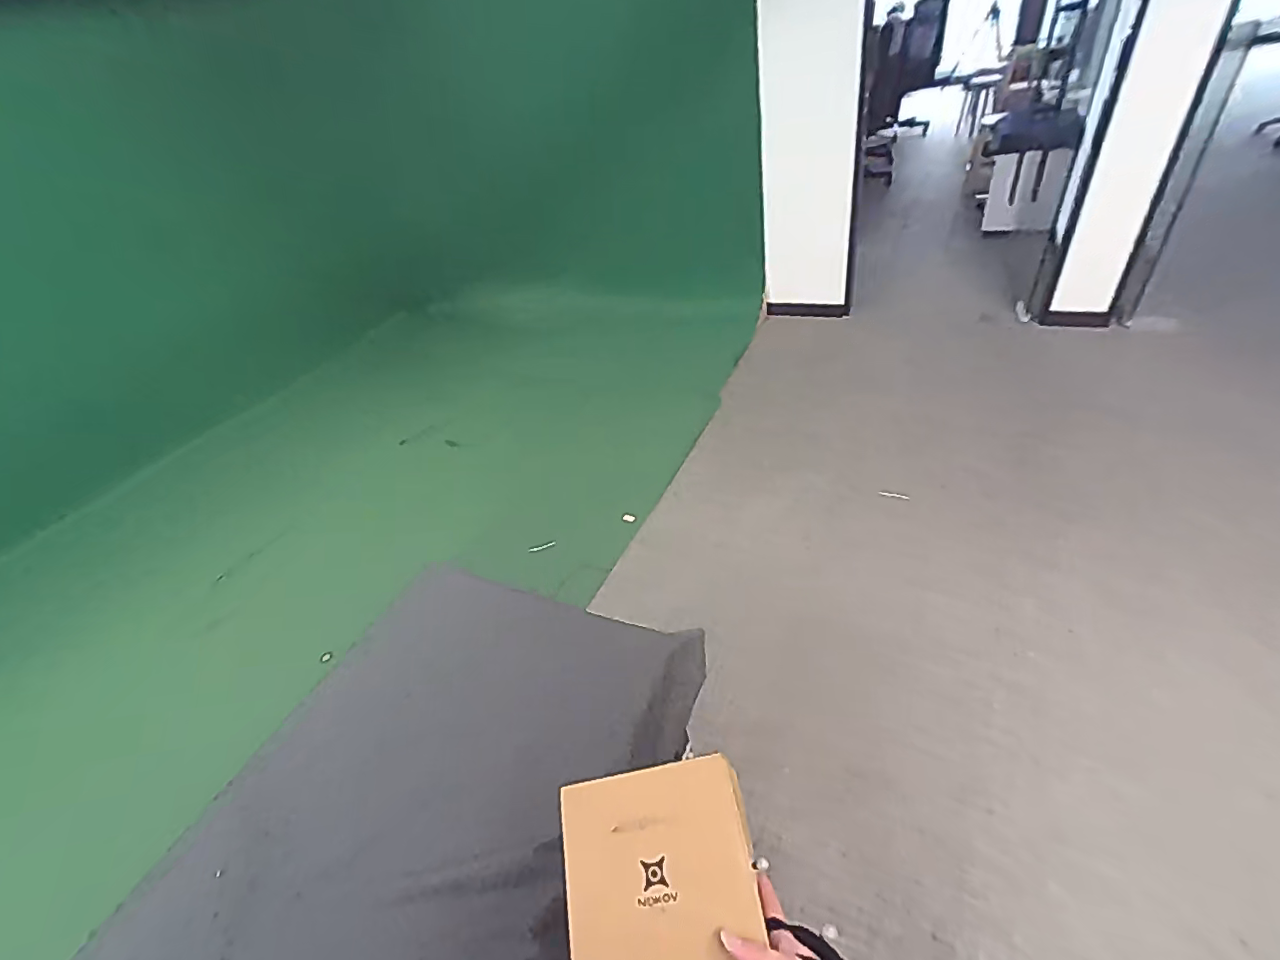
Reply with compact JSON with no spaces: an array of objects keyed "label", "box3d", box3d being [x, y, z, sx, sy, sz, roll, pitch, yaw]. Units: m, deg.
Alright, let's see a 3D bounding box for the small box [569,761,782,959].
[{"label":"small box","box3d":[0.039,0.402,0.541,0.168,0.176,0.179,-15,54,3]}]
